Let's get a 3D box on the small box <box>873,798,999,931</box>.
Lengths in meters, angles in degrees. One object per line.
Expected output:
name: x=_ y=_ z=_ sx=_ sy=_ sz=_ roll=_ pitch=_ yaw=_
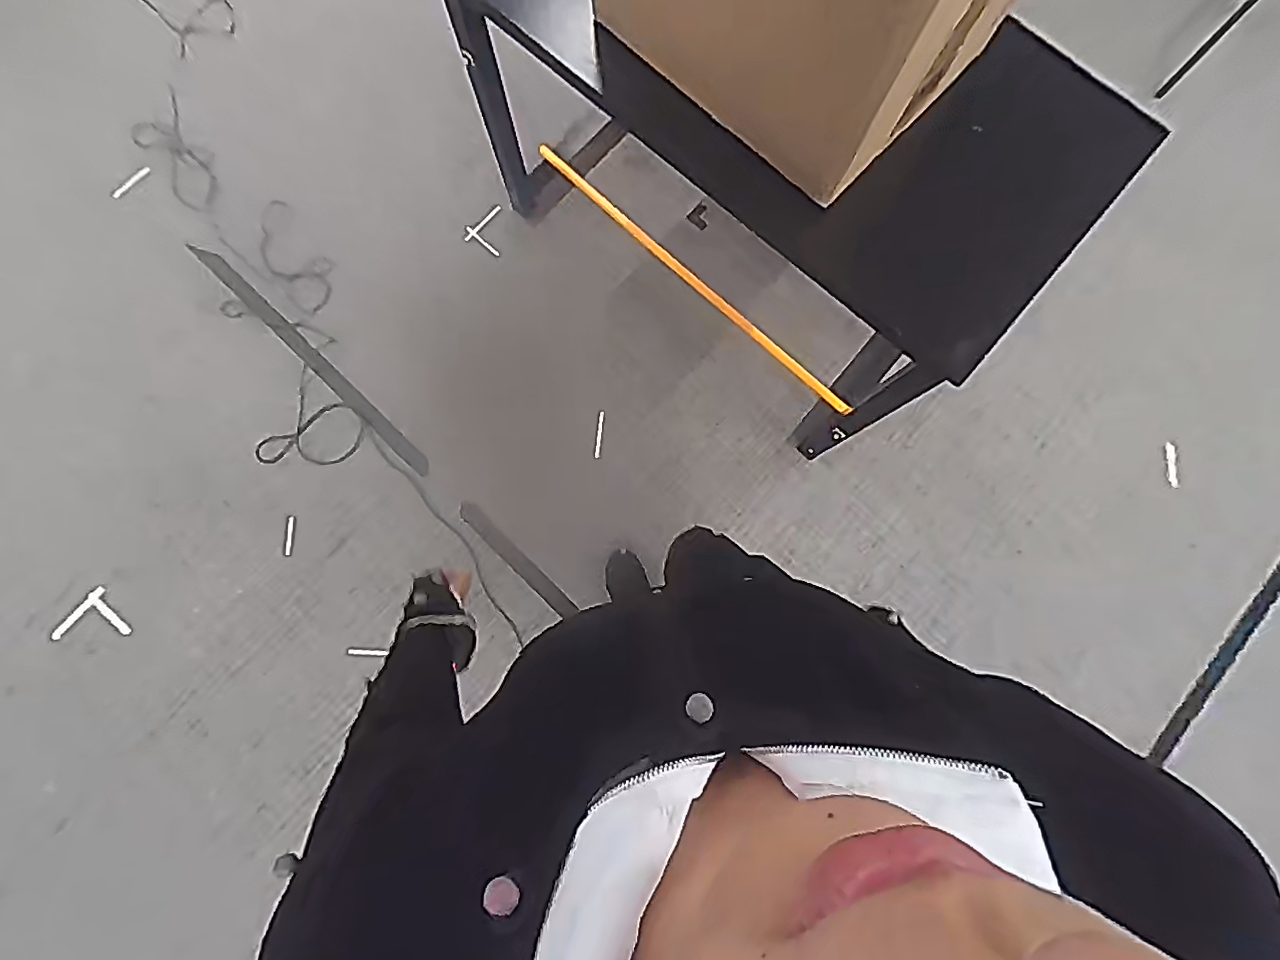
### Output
small box: x=0.718 y=0.930 z=1.331 sx=0.179 sy=0.176 sz=0.168 roll=38 pitch=82 yaw=6
